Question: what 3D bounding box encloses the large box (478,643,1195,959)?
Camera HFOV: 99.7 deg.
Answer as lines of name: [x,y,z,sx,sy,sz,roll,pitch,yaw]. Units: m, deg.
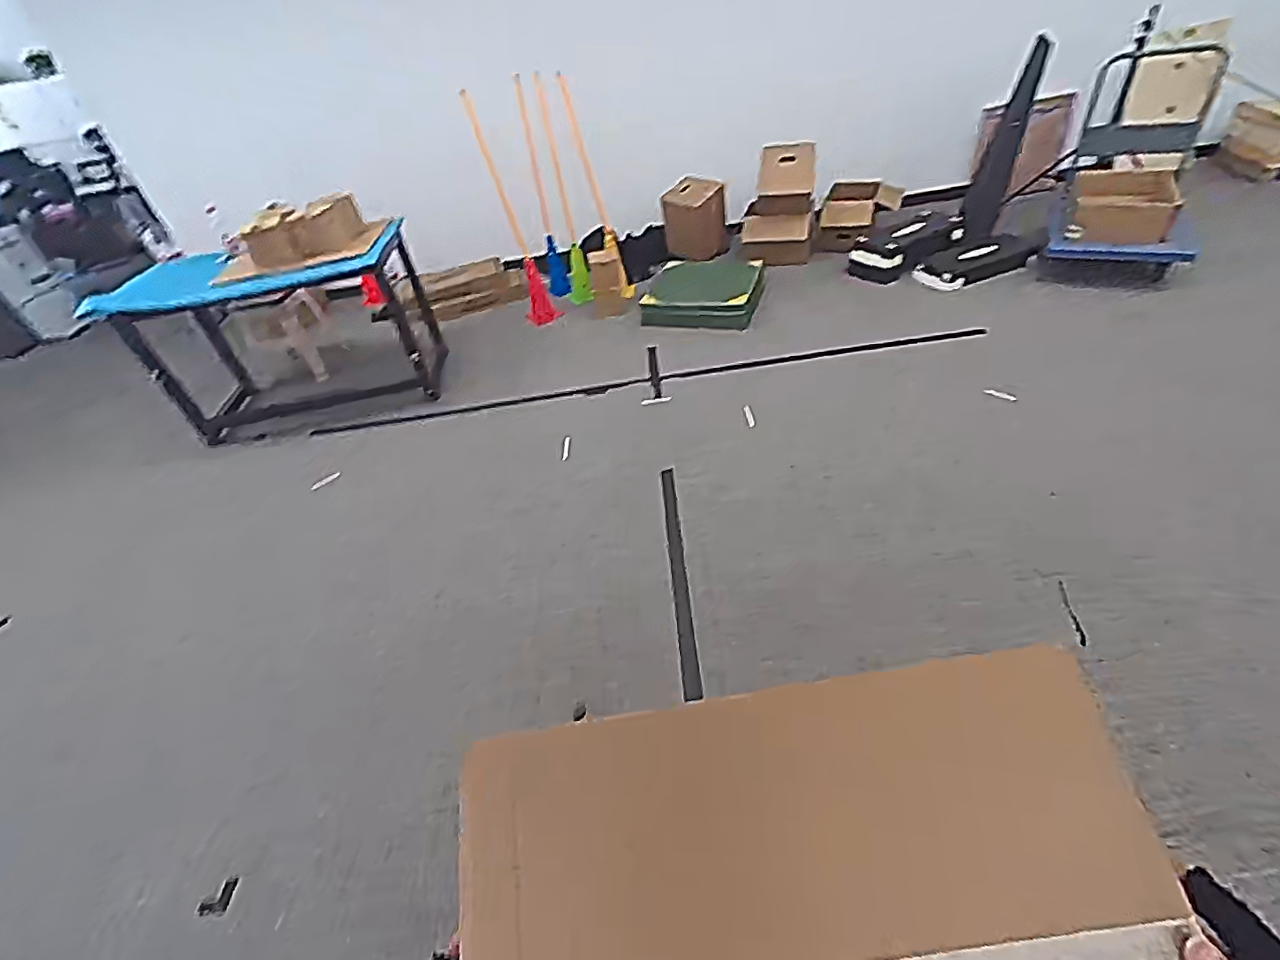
large box: [0.119,0.347,0.440,0.408,0.320,0.320,-10,65,1]
